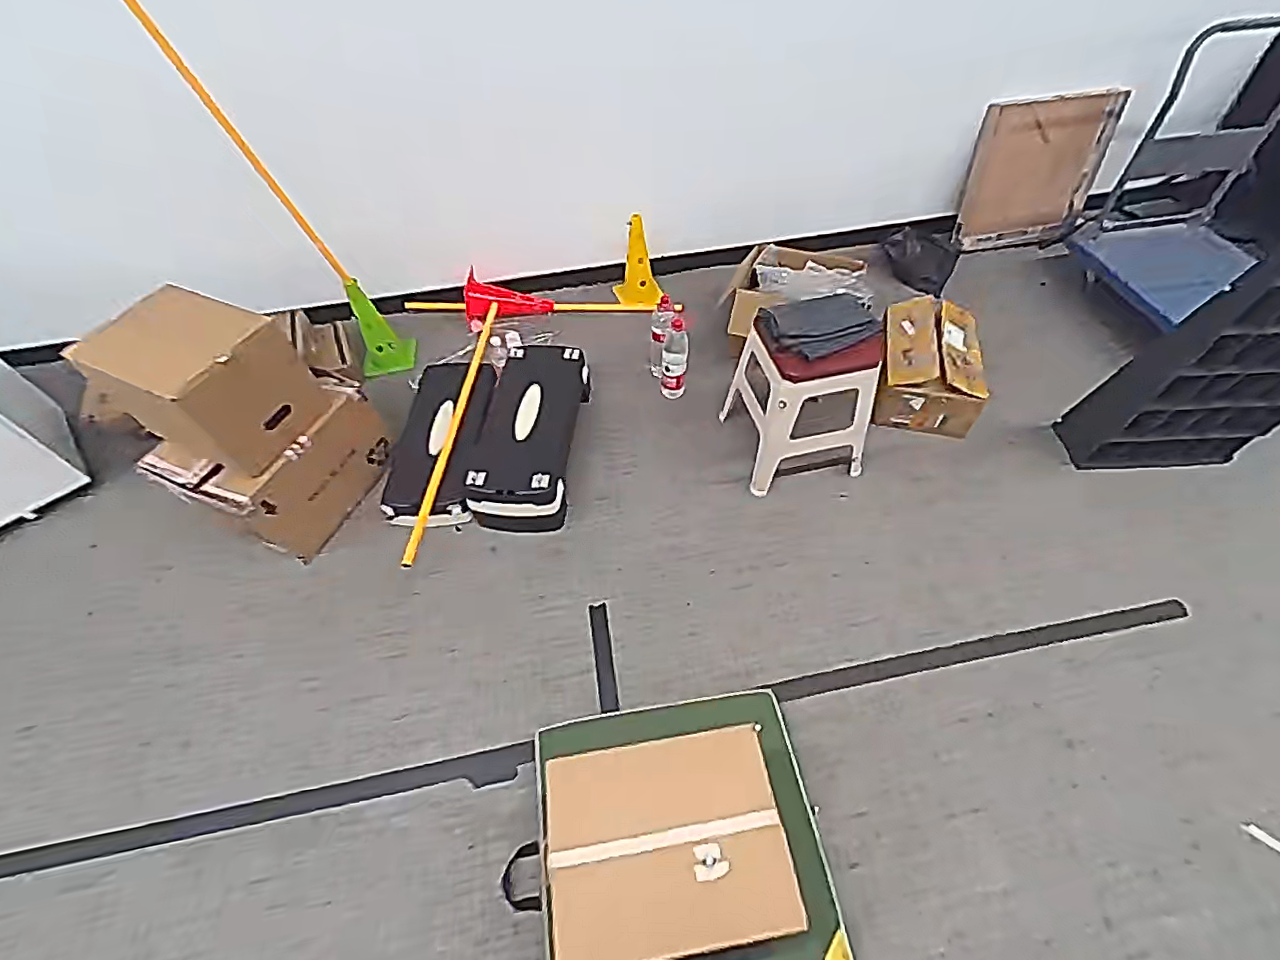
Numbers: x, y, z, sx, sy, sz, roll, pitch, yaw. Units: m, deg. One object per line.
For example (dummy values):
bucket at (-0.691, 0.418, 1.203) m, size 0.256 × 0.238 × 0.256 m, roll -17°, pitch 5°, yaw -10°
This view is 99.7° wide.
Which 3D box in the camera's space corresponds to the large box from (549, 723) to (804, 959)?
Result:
large box at (0.051, 0.716, 1.068) m, size 0.408 × 0.320 × 0.320 m, roll -8°, pitch 53°, yaw -5°
